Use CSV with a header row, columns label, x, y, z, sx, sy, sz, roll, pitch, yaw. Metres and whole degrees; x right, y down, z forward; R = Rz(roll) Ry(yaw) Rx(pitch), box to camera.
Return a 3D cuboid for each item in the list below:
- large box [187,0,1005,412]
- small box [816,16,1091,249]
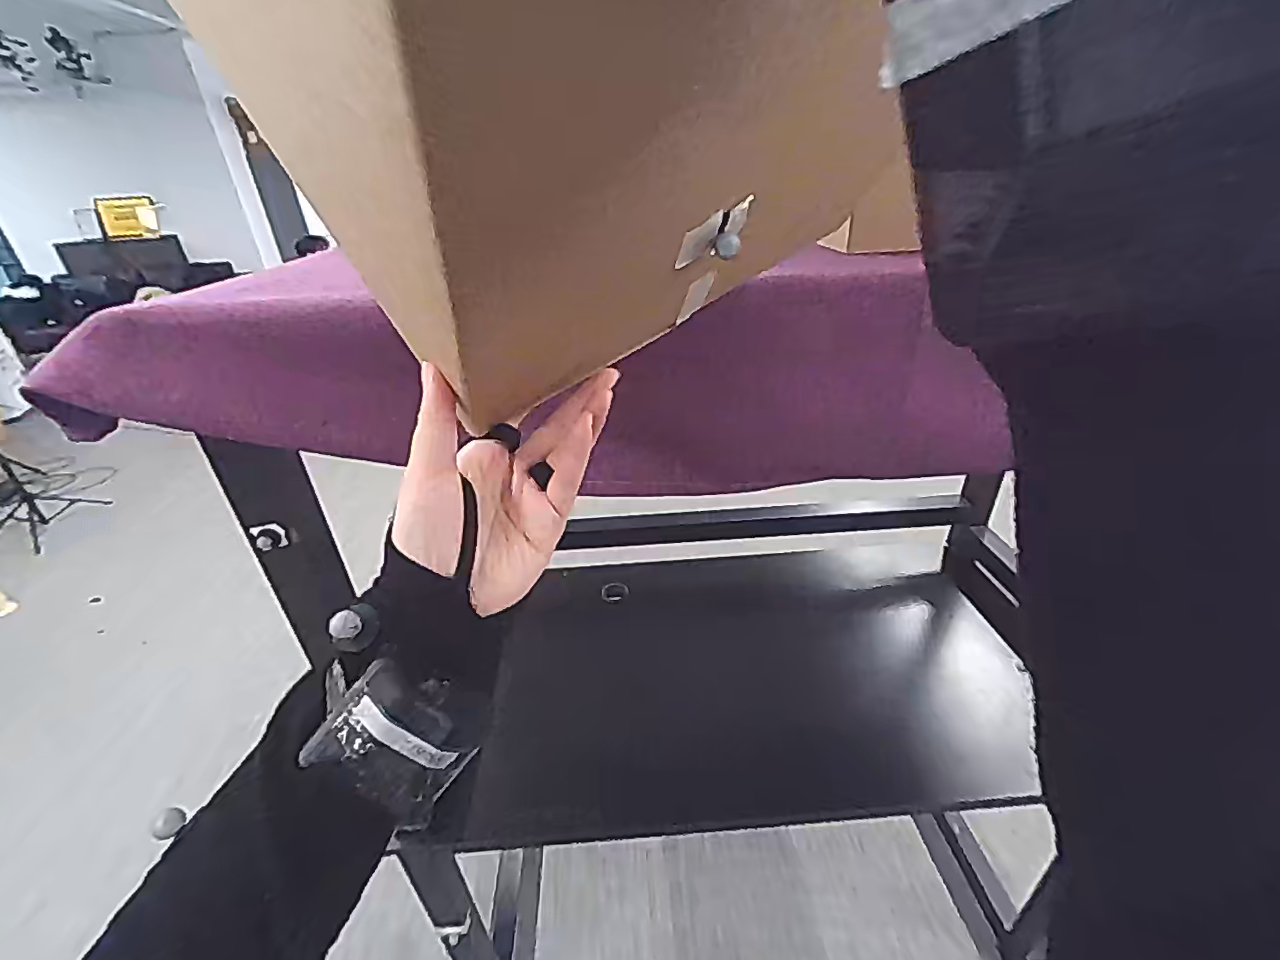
label,x,y,z,sx,sy,sz,roll,pitch,yaw
large box,-0.053,-0.310,0.232,0.320,0.320,0.408,-34,81,-20
small box,0.282,-0.336,0.544,0.179,0.176,0.168,-3,29,1
